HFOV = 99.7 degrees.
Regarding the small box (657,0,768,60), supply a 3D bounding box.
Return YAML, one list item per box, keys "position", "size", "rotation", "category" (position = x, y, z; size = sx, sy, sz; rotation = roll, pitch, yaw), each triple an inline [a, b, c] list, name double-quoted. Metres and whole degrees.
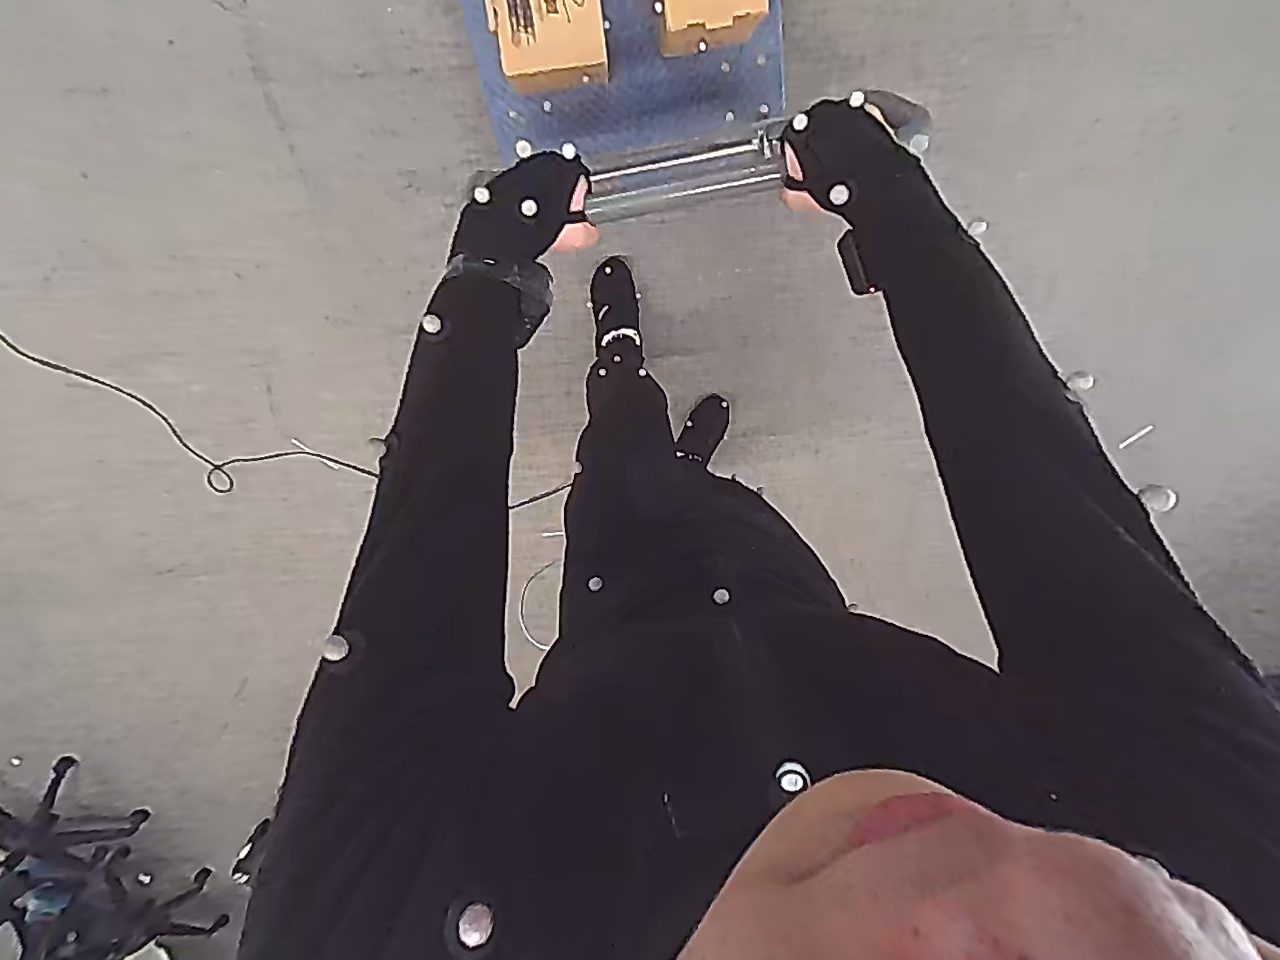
- position: [0.114, -0.861, 0.927]
  size: [0.168, 0.176, 0.179]
  rotation: [-9, 117, 3]
  category: "small box"
